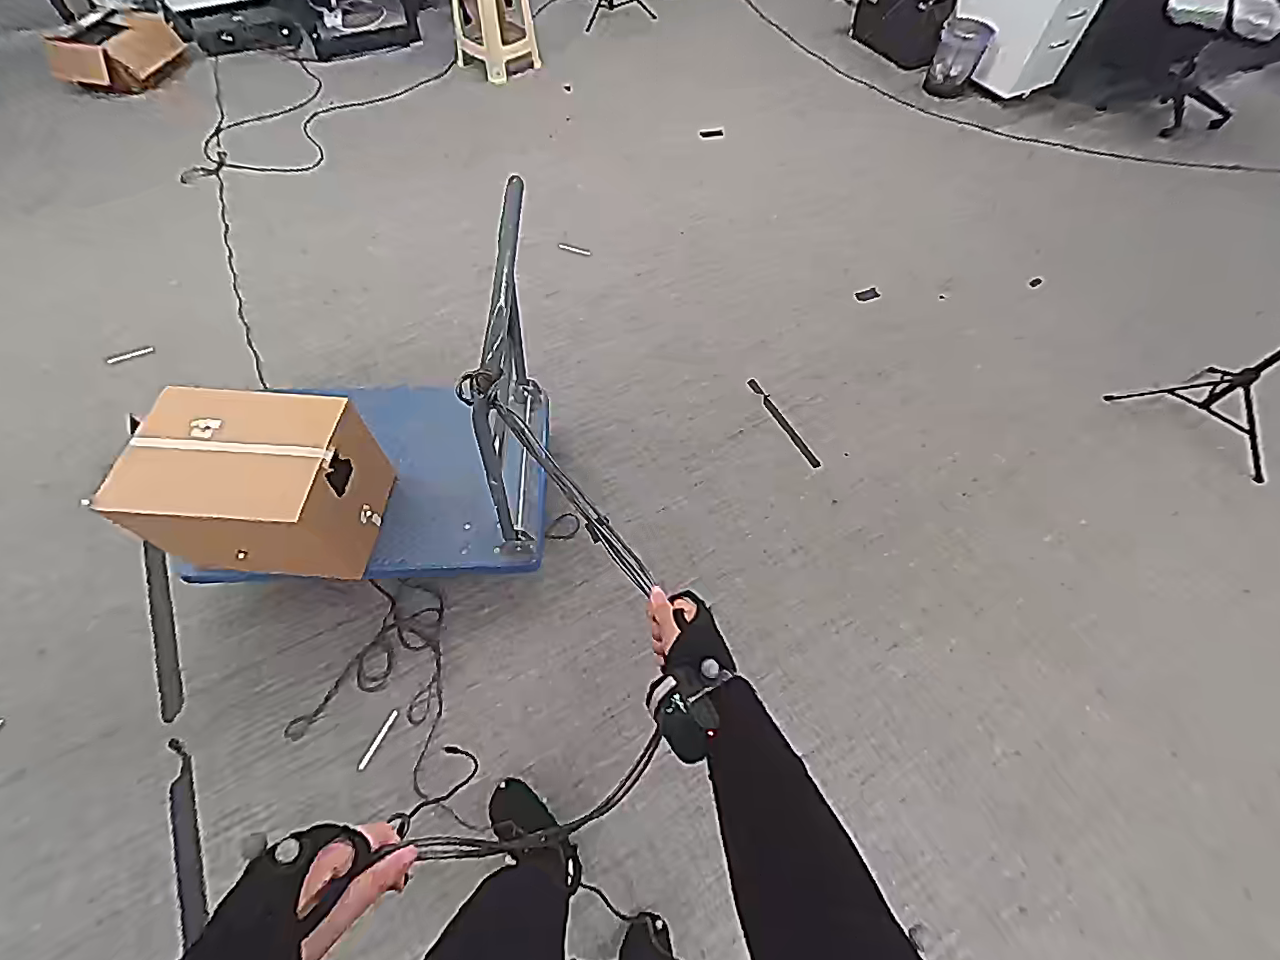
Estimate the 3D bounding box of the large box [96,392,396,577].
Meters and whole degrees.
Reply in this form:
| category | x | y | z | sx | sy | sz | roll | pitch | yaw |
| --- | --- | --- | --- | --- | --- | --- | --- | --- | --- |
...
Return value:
| category | x | y | z | sx | sy | sz | roll | pitch | yaw |
| --- | --- | --- | --- | --- | --- | --- | --- | --- | --- |
| large box | -0.844 | 0.021 | 1.240 | 0.408 | 0.320 | 0.320 | 3 | 58 | 0 |
